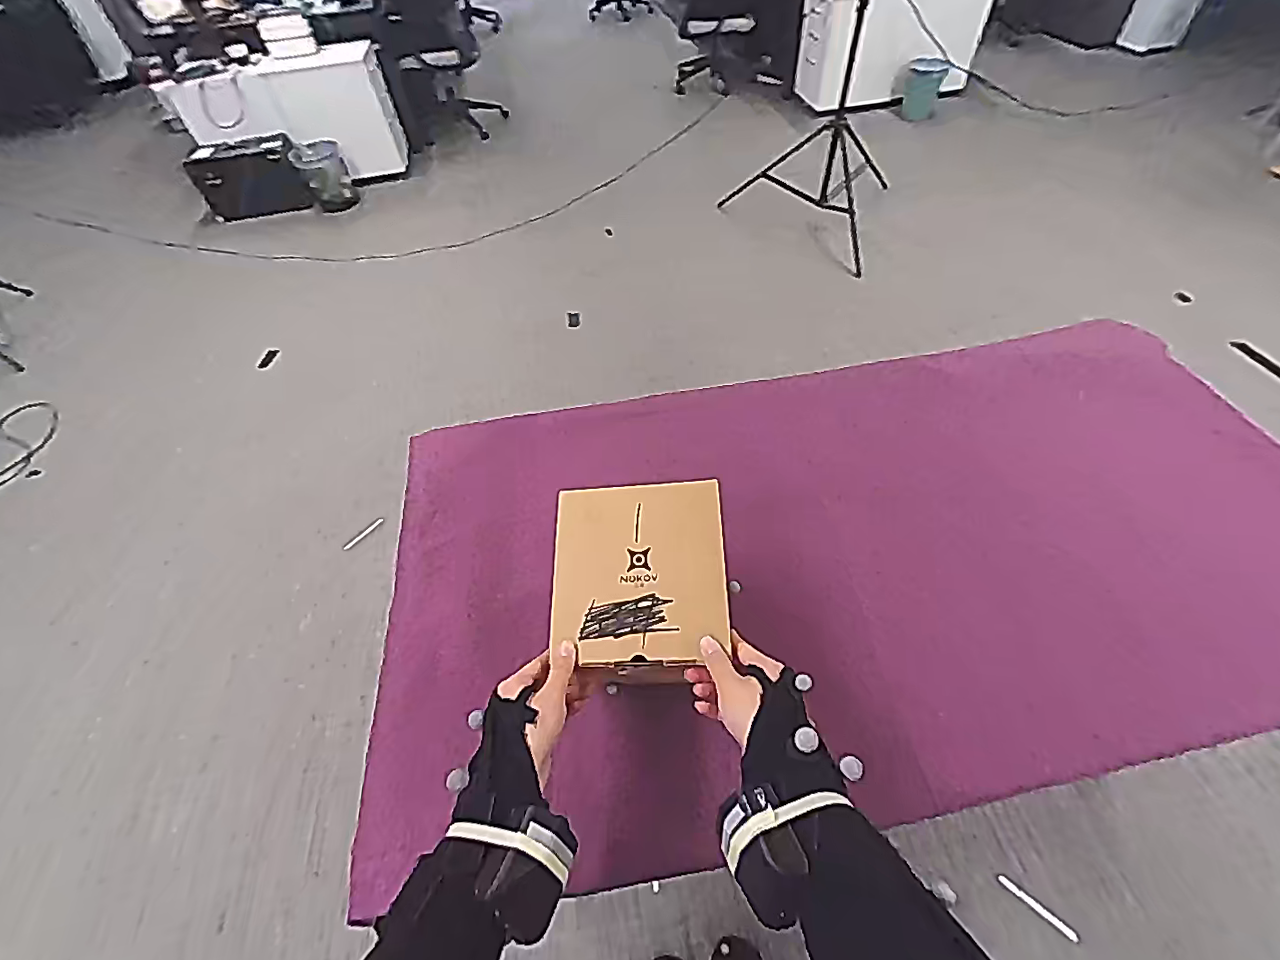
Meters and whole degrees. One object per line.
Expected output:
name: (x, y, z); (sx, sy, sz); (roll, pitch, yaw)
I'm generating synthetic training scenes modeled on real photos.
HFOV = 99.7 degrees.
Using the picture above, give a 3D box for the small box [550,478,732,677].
small box: (0.011, 0.115, 0.585); (0.168, 0.176, 0.179); (-4, 63, 7)
